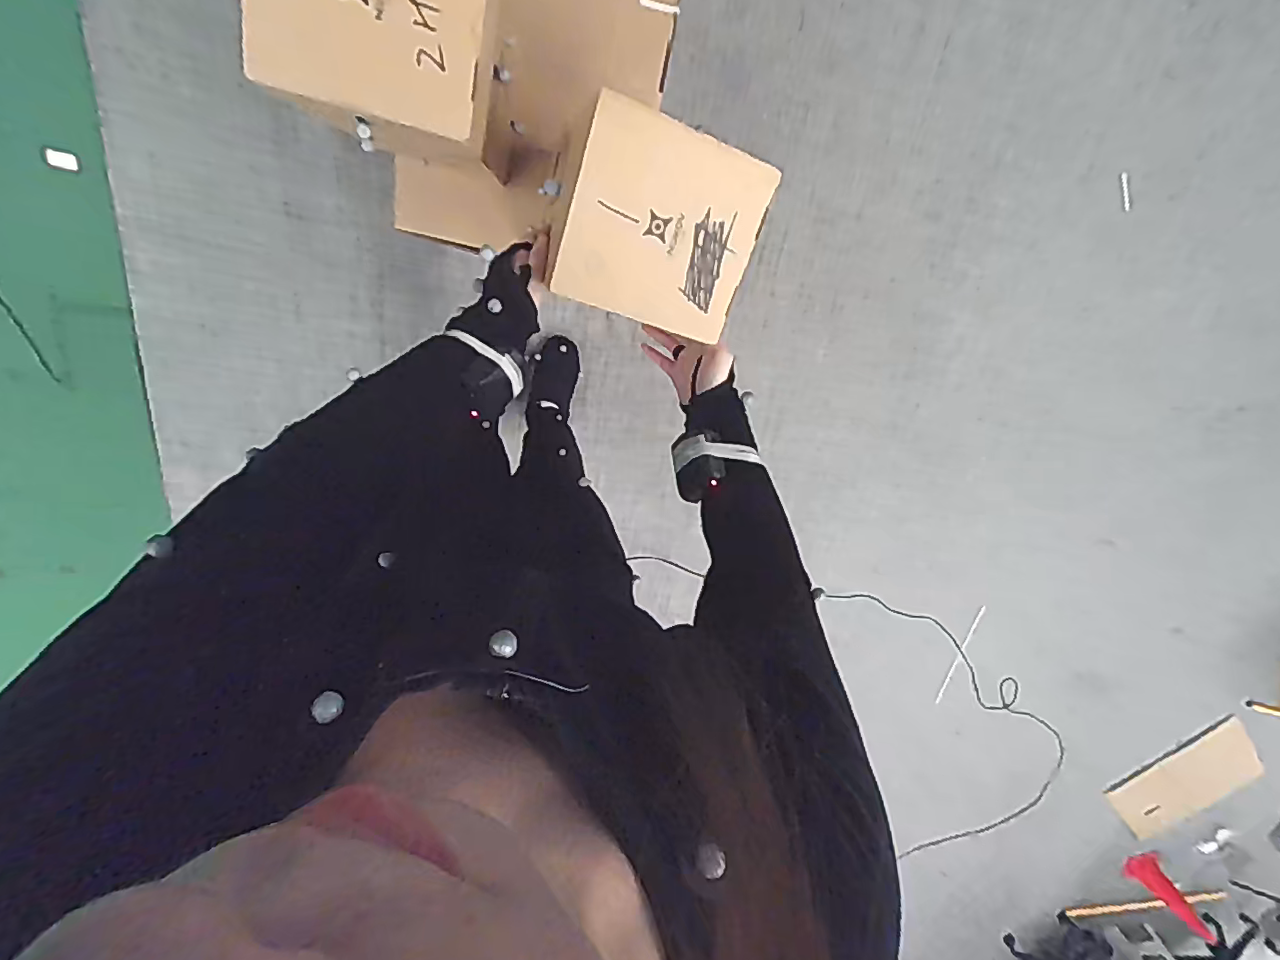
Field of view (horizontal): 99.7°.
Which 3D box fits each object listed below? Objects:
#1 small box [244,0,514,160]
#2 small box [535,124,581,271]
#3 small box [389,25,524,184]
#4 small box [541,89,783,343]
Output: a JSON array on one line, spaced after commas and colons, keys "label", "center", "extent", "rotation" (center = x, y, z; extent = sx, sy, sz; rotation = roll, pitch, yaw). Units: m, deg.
[{"label": "small box", "center": [-0.219, -0.409, 0.488], "extent": [0.179, 0.176, 0.168], "rotation": [10, 112, -13]}, {"label": "small box", "center": [-0.039, -0.349, 0.732], "extent": [0.179, 0.176, 0.168], "rotation": [12, 111, -16]}, {"label": "small box", "center": [-0.265, -0.553, 0.782], "extent": [0.168, 0.176, 0.179], "rotation": [12, 110, -14]}, {"label": "small box", "center": [0.007, -0.260, 0.555], "extent": [0.179, 0.176, 0.168], "rotation": [13, 112, -19]}]
